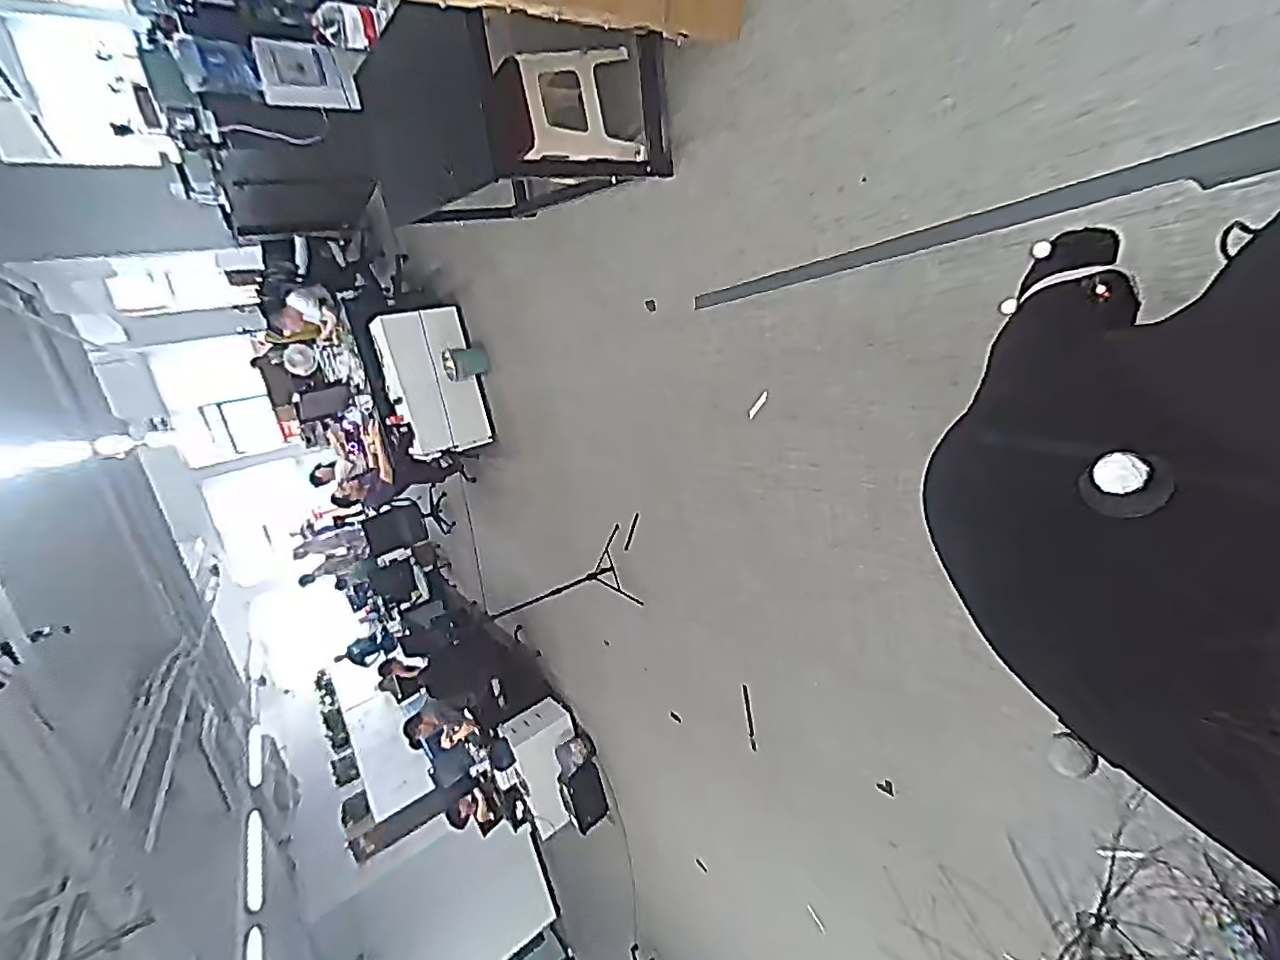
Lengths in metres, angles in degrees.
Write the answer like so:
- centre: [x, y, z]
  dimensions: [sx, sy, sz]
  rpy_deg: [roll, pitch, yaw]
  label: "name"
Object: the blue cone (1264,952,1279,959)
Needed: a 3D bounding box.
- centre: [1.393, 1.224, 1.107]
  dimensions: [0.193, 0.380, 0.192]
  rpy_deg: [7, 114, 55]
  label: "blue cone"
